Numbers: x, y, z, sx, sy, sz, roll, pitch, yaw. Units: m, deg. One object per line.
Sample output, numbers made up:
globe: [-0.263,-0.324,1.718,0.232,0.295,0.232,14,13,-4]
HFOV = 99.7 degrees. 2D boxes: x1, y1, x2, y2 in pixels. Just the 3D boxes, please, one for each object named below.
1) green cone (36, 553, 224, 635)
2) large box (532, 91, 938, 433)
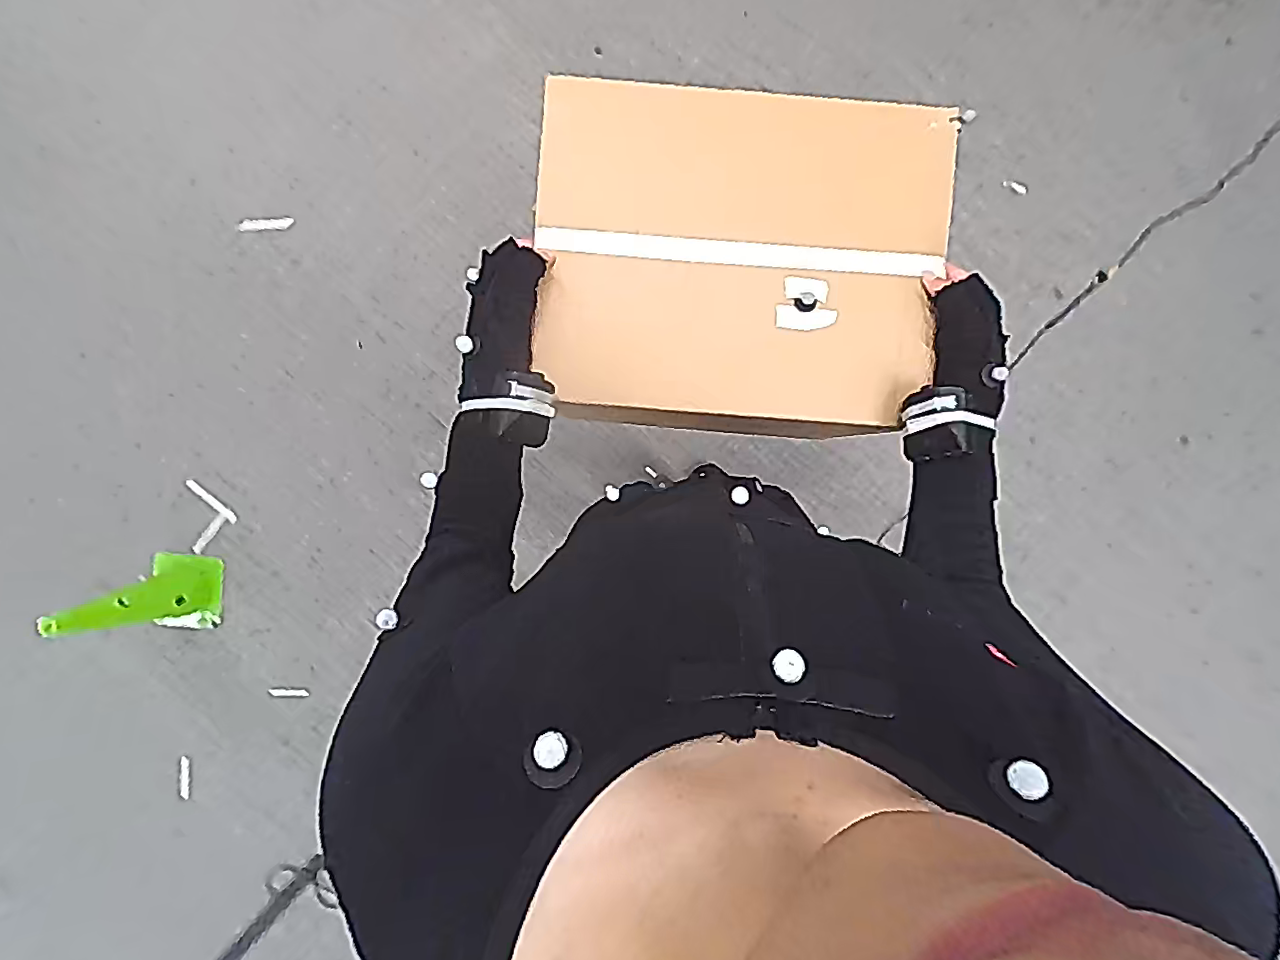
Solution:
green cone: [-1.285,0.314,1.358,0.202,0.368,0.200,4,91,3]
large box: [0.090,-0.229,0.688,0.408,0.320,0.320,3,92,-1]
